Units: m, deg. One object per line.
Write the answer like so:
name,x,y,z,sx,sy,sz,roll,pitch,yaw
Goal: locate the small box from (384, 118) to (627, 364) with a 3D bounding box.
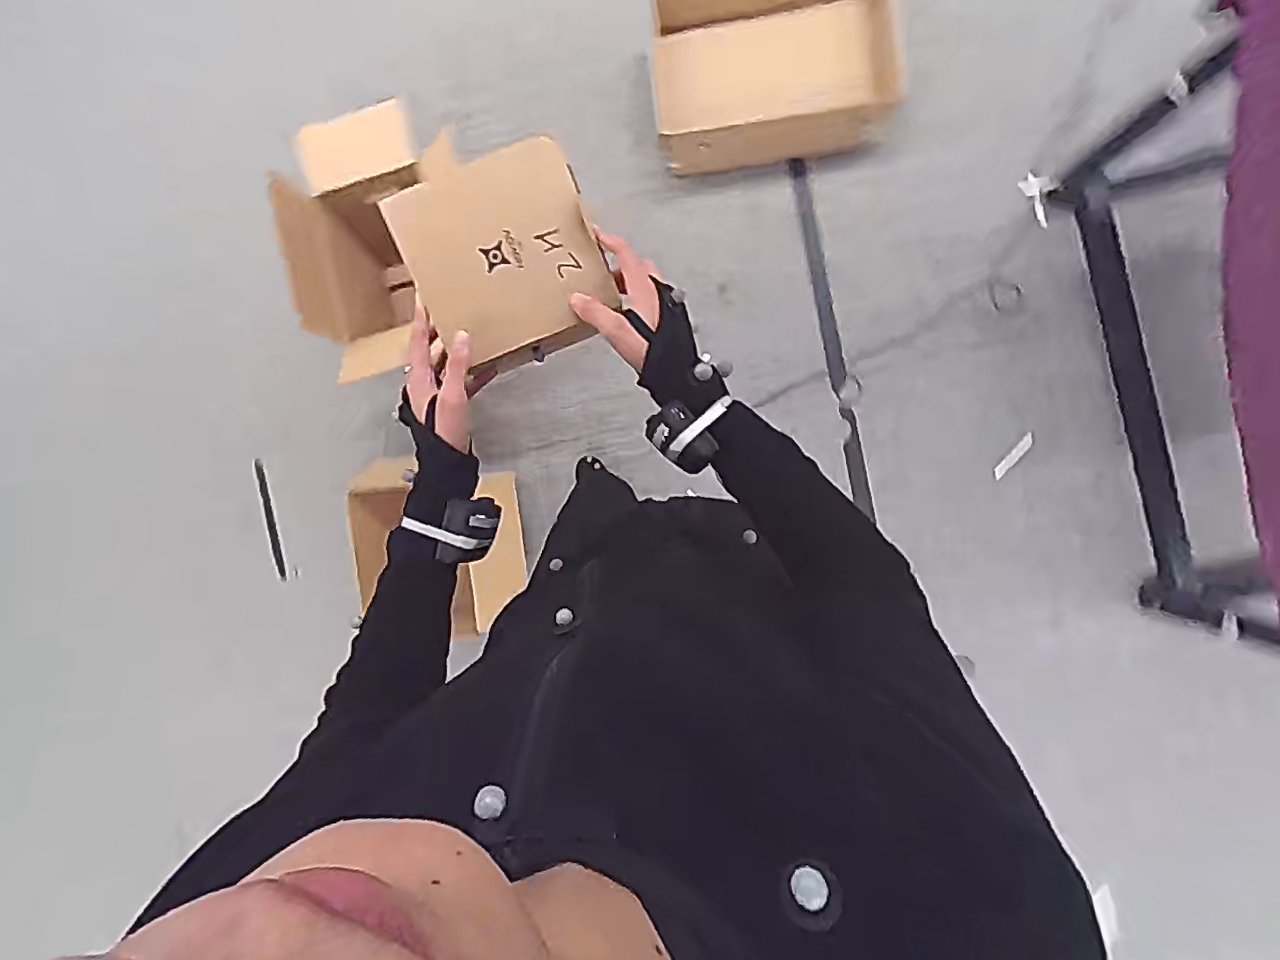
small box,-0.123,-0.227,0.566,0.179,0.176,0.168,-21,101,0
